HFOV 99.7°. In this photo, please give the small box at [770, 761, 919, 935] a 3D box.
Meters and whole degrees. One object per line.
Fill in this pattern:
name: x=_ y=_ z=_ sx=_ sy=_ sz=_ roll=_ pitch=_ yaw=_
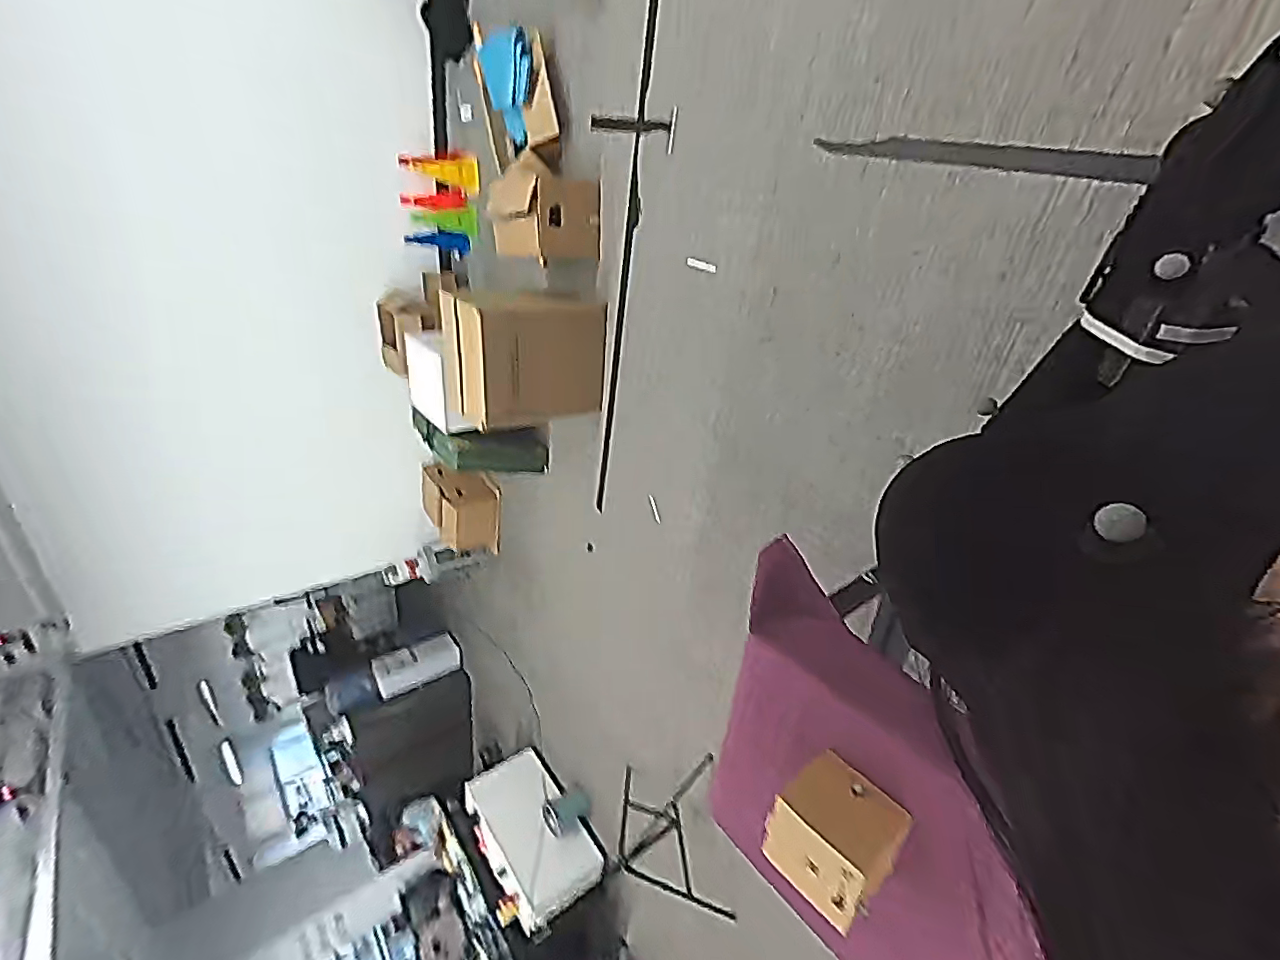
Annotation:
small box: x=0.369 y=0.653 z=0.989 sx=0.179 sy=0.176 sz=0.168 roll=30 pitch=125 yaw=44
